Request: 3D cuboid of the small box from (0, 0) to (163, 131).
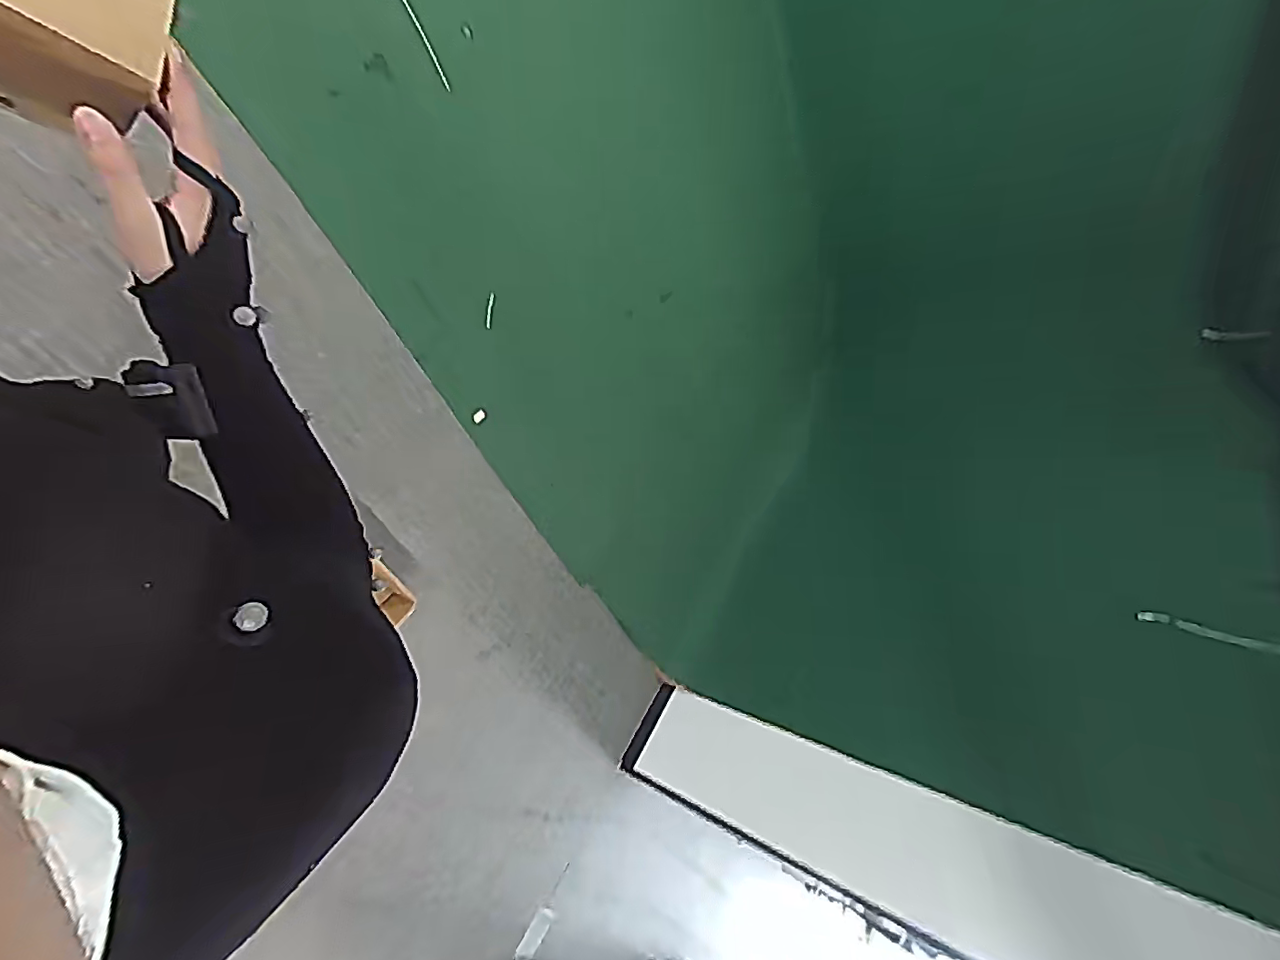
[{"bbox_3d":[-0.404,-0.356,0.324,0.168,0.176,0.179,9,88,-53],"label":"small box"}]
